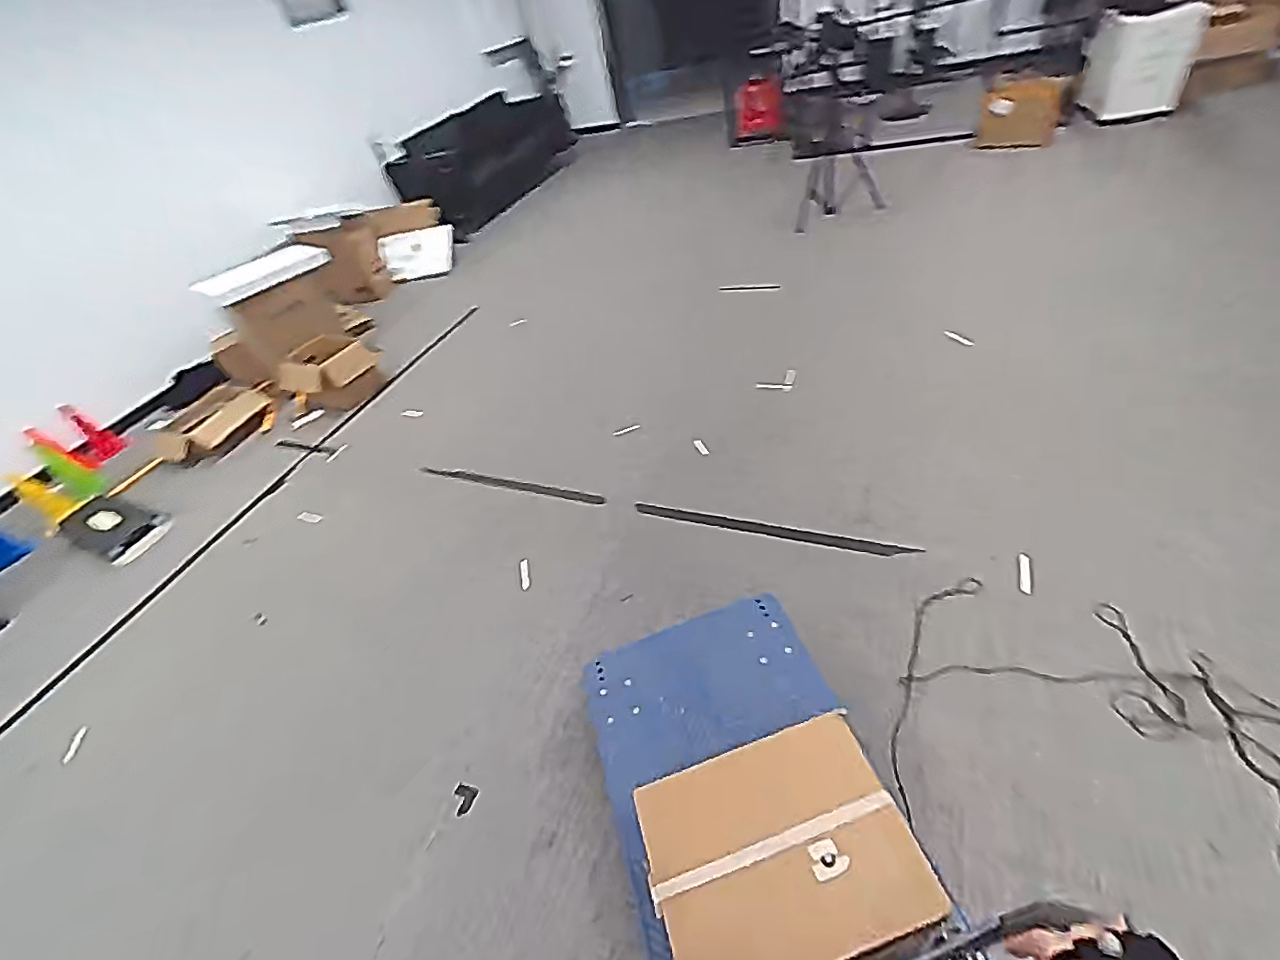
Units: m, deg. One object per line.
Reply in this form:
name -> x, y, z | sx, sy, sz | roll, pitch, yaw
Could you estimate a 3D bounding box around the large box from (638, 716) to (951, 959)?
large box -> 0.249, 0.699, 0.964 | 0.408, 0.320, 0.320 | -19, 43, -4
